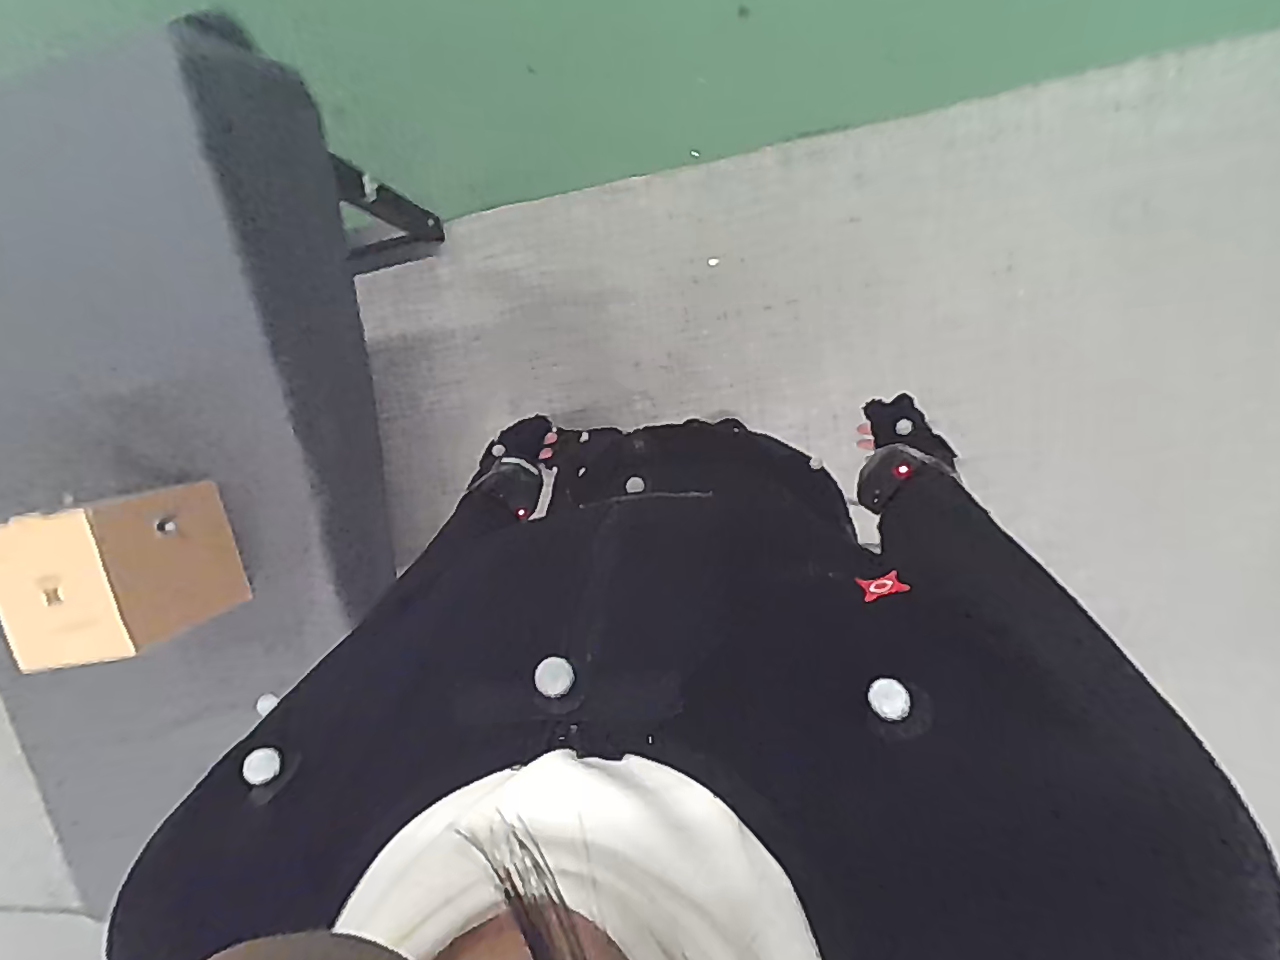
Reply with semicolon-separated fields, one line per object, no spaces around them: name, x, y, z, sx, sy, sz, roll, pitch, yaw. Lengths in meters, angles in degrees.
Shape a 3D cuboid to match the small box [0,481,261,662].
small box;-0.645;0.105;0.698;0.168;0.176;0.179;-11;101;9
